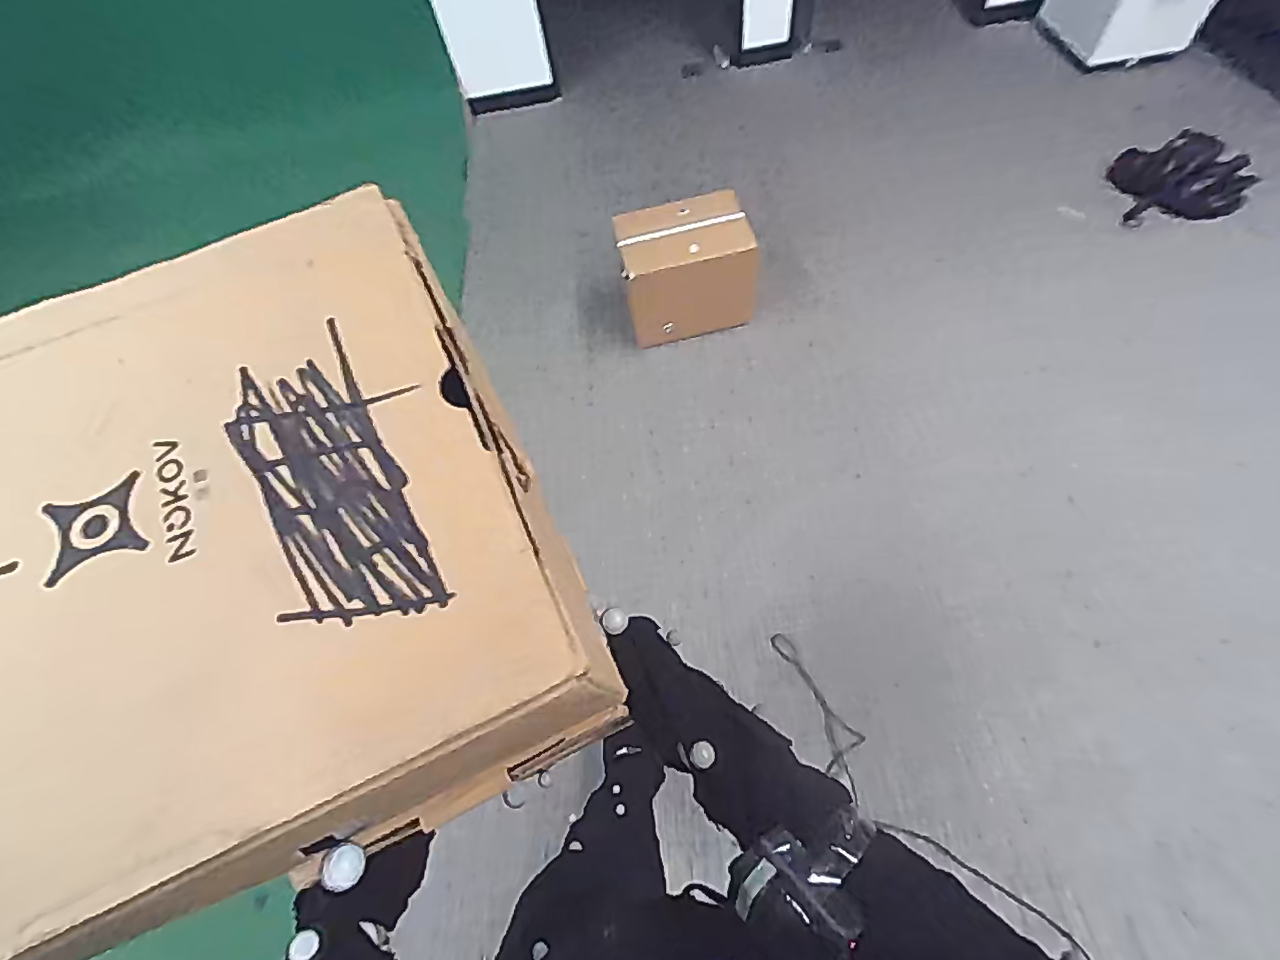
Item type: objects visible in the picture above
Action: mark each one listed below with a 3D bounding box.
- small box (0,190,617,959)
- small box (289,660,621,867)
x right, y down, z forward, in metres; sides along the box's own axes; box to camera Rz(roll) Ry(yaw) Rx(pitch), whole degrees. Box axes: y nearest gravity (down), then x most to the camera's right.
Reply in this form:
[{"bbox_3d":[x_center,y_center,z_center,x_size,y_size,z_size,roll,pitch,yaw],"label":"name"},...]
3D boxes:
[{"bbox_3d":[-0.120,0.037,0.209,0.179,0.176,0.168,-26,69,-10],"label":"small box"},{"bbox_3d":[-0.120,0.103,0.360,0.168,0.176,0.179,-24,69,-8],"label":"small box"}]
